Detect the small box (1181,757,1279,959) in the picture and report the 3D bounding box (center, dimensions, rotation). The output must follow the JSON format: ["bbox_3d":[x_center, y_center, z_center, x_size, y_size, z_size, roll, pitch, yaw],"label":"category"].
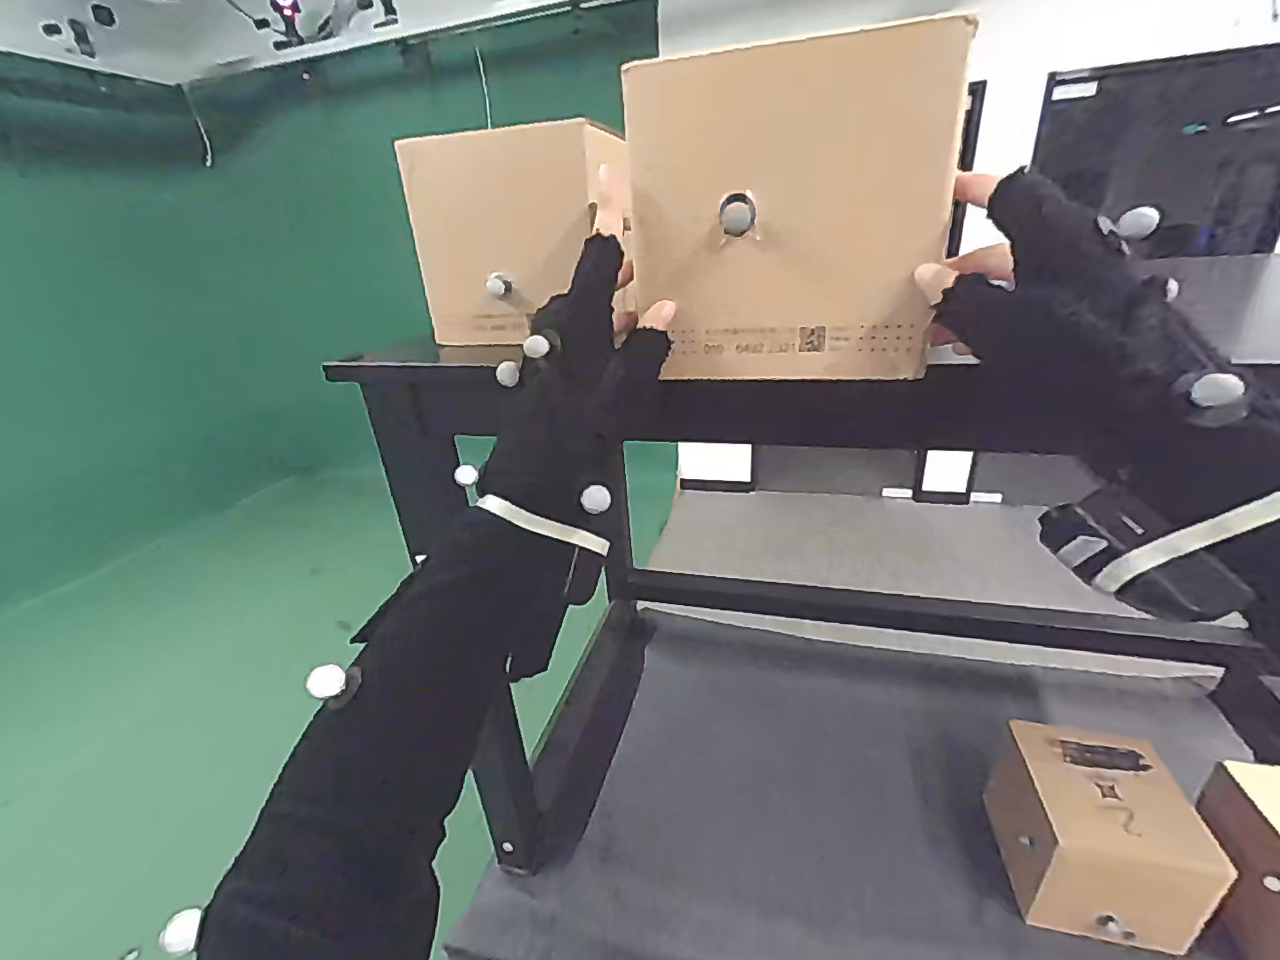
[{"bbox_3d":[0.797,0.465,0.625,0.168,0.176,0.179,2,24,14],"label":"small box"}]

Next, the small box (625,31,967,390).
[{"bbox_3d":[0.098,-0.162,0.367,0.168,0.176,0.179,3,25,15],"label":"small box"}]

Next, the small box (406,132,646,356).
[{"bbox_3d":[-0.091,-0.225,0.530,0.168,0.176,0.179,3,27,14],"label":"small box"}]
